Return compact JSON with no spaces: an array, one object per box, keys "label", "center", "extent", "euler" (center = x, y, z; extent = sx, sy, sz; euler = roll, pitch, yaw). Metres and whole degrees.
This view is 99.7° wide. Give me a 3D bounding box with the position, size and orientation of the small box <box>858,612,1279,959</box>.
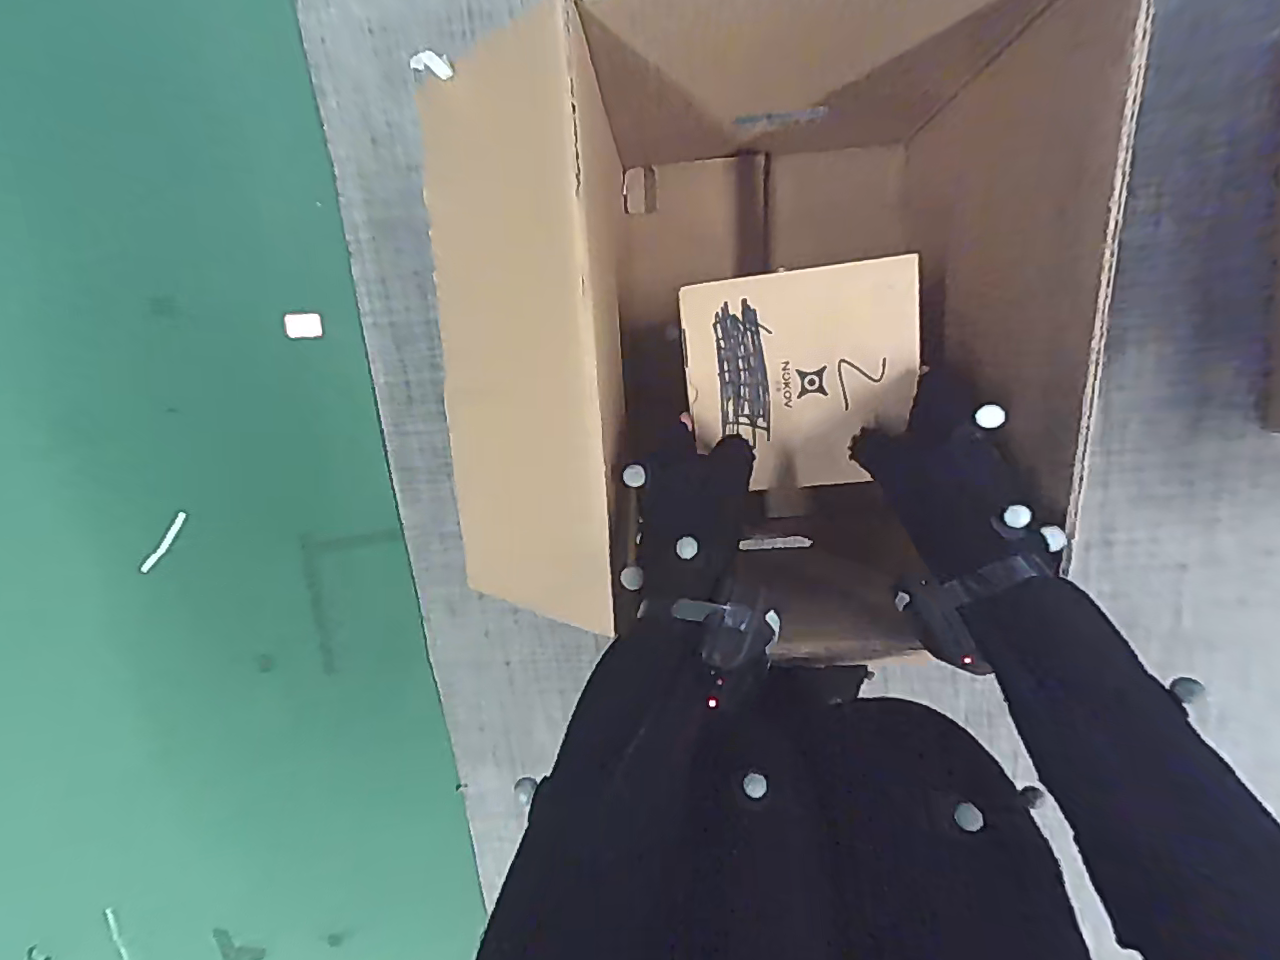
[{"label":"small box","center":[0.204,0.175,0.218],"extent":[0.168,0.179,0.176],"euler":[12,145,39]}]
